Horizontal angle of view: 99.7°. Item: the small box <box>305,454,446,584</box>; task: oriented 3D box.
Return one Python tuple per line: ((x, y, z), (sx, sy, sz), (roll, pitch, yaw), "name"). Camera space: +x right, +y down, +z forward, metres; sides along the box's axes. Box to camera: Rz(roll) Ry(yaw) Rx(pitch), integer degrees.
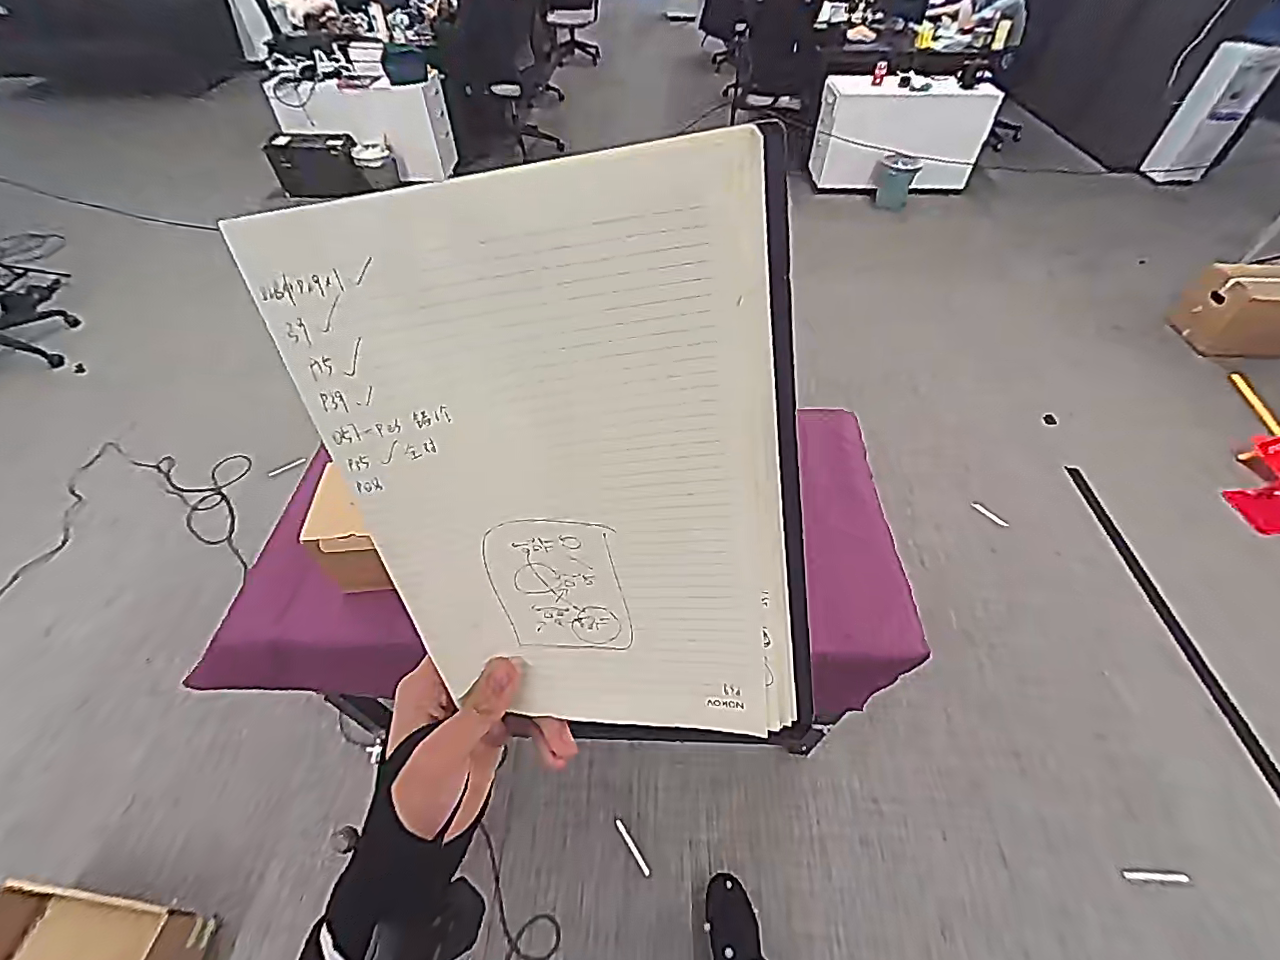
((-0.462, 0.076, 0.980), (0.168, 0.176, 0.179), (-4, 50, -4), "small box")
